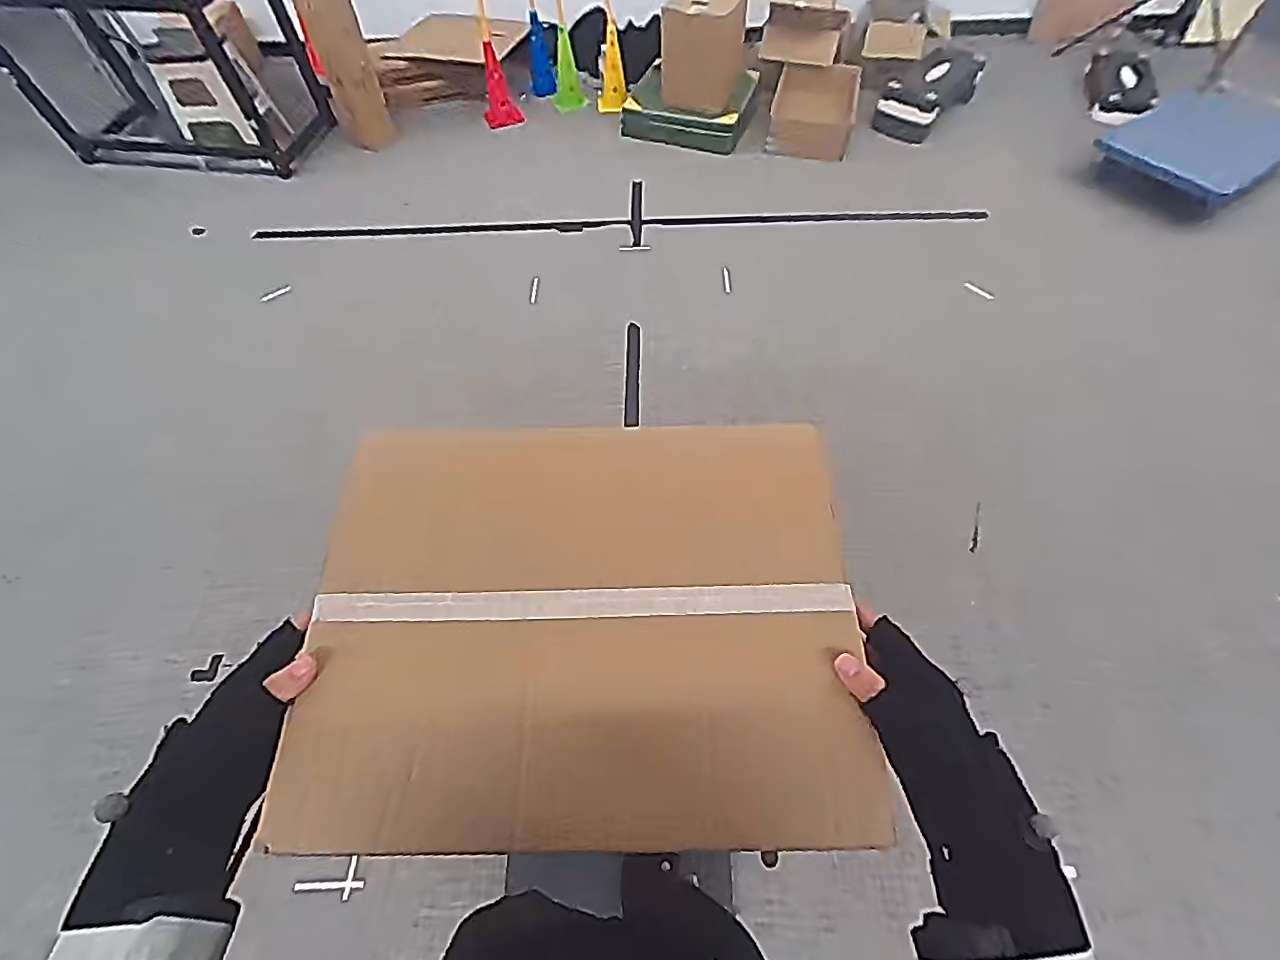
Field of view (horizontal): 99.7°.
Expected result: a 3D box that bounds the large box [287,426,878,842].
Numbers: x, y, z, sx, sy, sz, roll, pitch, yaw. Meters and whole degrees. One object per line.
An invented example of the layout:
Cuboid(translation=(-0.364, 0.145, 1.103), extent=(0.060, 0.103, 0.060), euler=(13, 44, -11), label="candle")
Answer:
Cuboid(translation=(-0.038, 0.160, 0.557), extent=(0.408, 0.320, 0.320), euler=(-1, 63, 0), label="large box")
